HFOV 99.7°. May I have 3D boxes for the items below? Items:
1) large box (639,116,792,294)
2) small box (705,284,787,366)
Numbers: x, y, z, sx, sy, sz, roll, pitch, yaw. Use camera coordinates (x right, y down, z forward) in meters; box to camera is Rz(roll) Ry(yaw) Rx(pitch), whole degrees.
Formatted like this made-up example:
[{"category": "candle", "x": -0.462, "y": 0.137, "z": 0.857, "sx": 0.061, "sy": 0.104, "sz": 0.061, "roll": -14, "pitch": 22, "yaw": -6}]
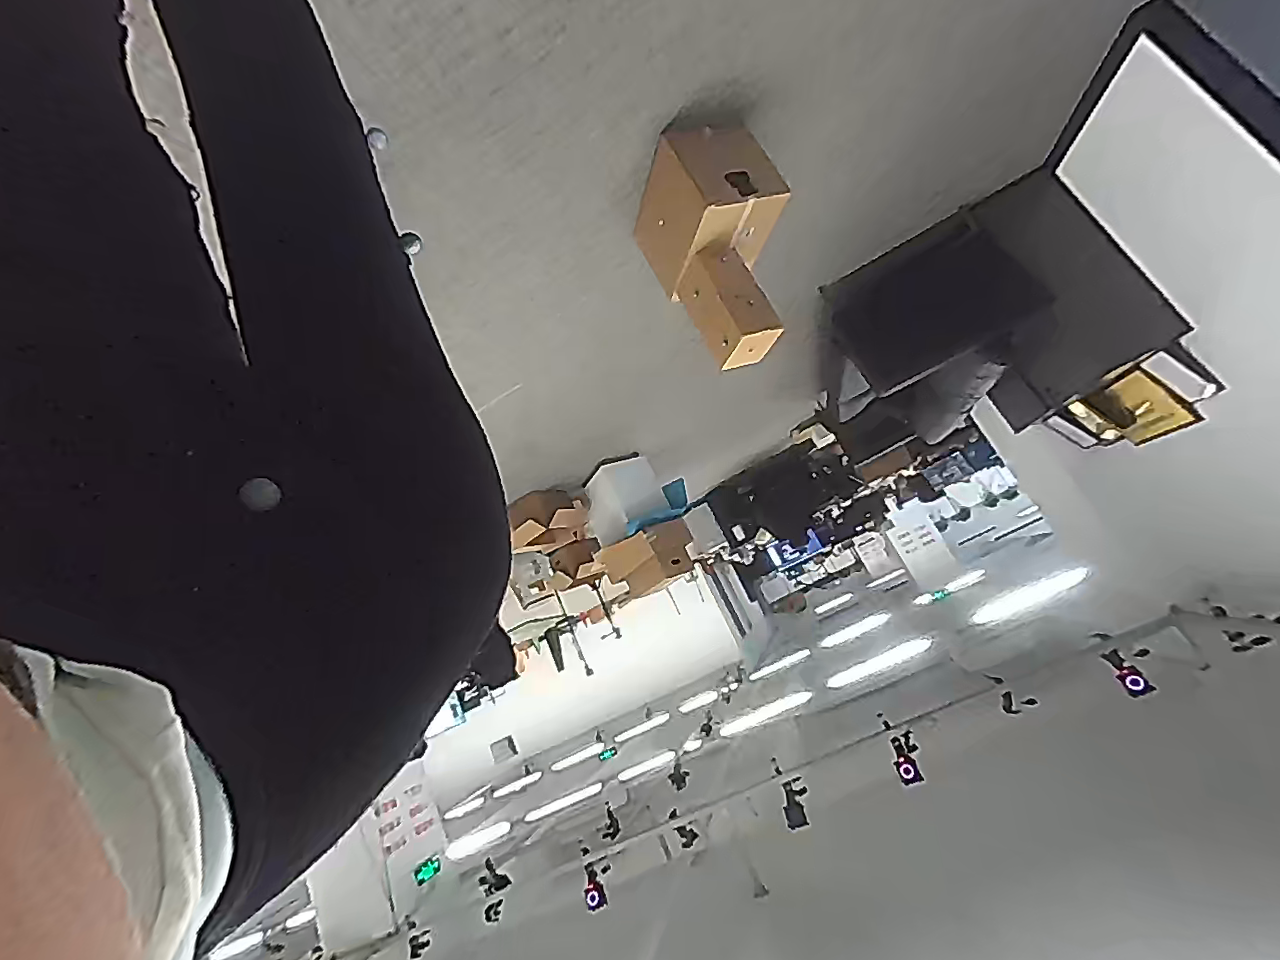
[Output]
[{"category": "large box", "x": 0.224, "y": -0.893, "z": 1.783, "sx": 0.320, "sy": 0.320, "sz": 0.408, "roll": -21, "pitch": 163, "yaw": -20}, {"category": "small box", "x": 0.326, "y": -0.493, "z": 1.717, "sx": 0.168, "sy": 0.176, "sz": 0.179, "roll": -18, "pitch": 162, "yaw": -23}]
